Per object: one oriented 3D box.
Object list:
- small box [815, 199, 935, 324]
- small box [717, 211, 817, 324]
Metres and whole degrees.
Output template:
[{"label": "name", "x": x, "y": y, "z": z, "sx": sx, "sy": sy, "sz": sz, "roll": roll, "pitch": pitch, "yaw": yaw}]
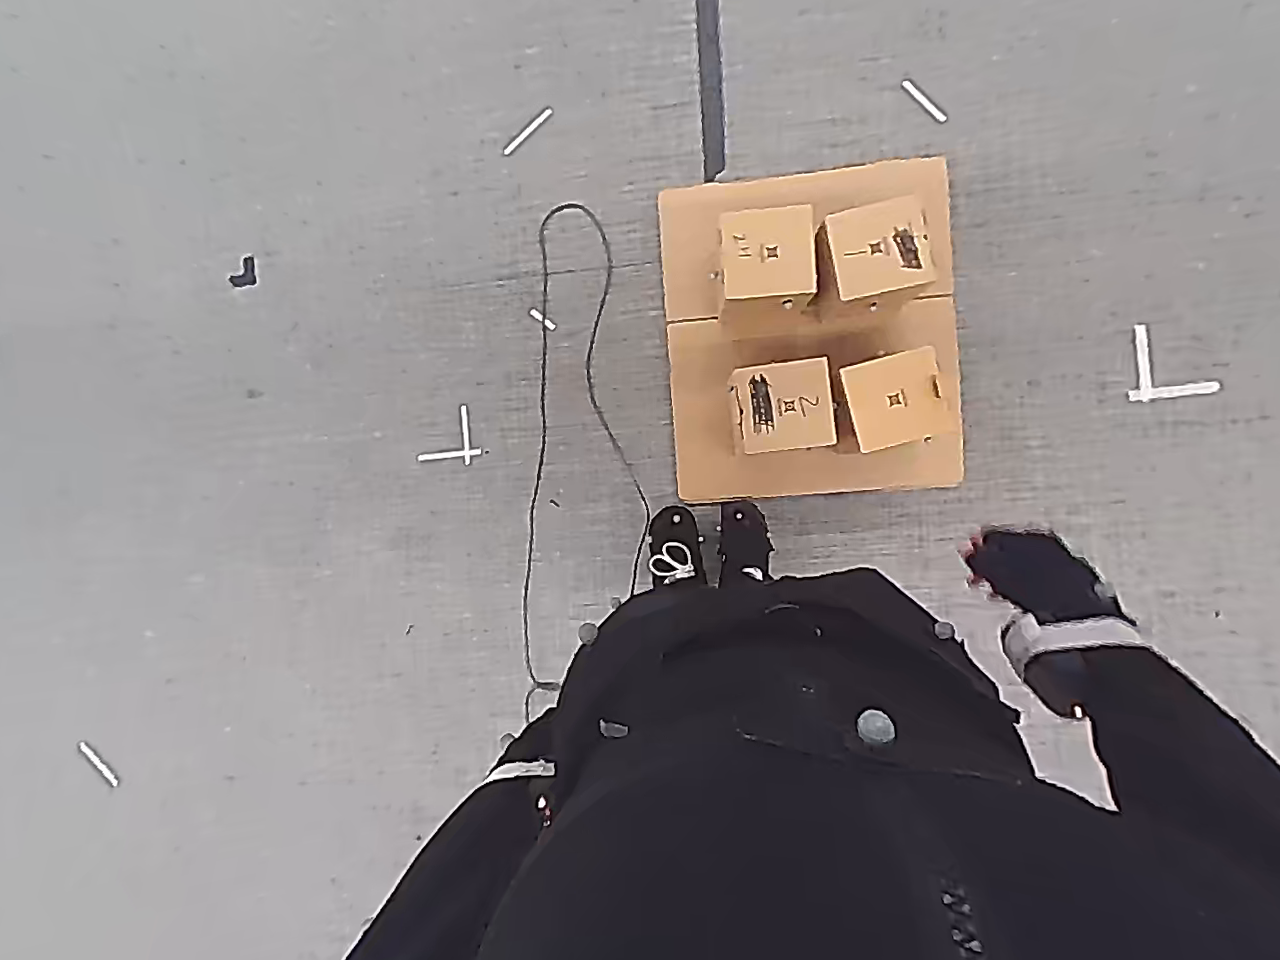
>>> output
[{"label": "small box", "x": 0.454, "y": -0.427, "z": 1.084, "sx": 0.179, "sy": 0.176, "sz": 0.168, "roll": -11, "pitch": 90, "yaw": 7}, {"label": "small box", "x": 0.252, "y": -0.426, "z": 1.106, "sx": 0.179, "sy": 0.176, "sz": 0.168, "roll": -3, "pitch": 91, "yaw": 6}]
